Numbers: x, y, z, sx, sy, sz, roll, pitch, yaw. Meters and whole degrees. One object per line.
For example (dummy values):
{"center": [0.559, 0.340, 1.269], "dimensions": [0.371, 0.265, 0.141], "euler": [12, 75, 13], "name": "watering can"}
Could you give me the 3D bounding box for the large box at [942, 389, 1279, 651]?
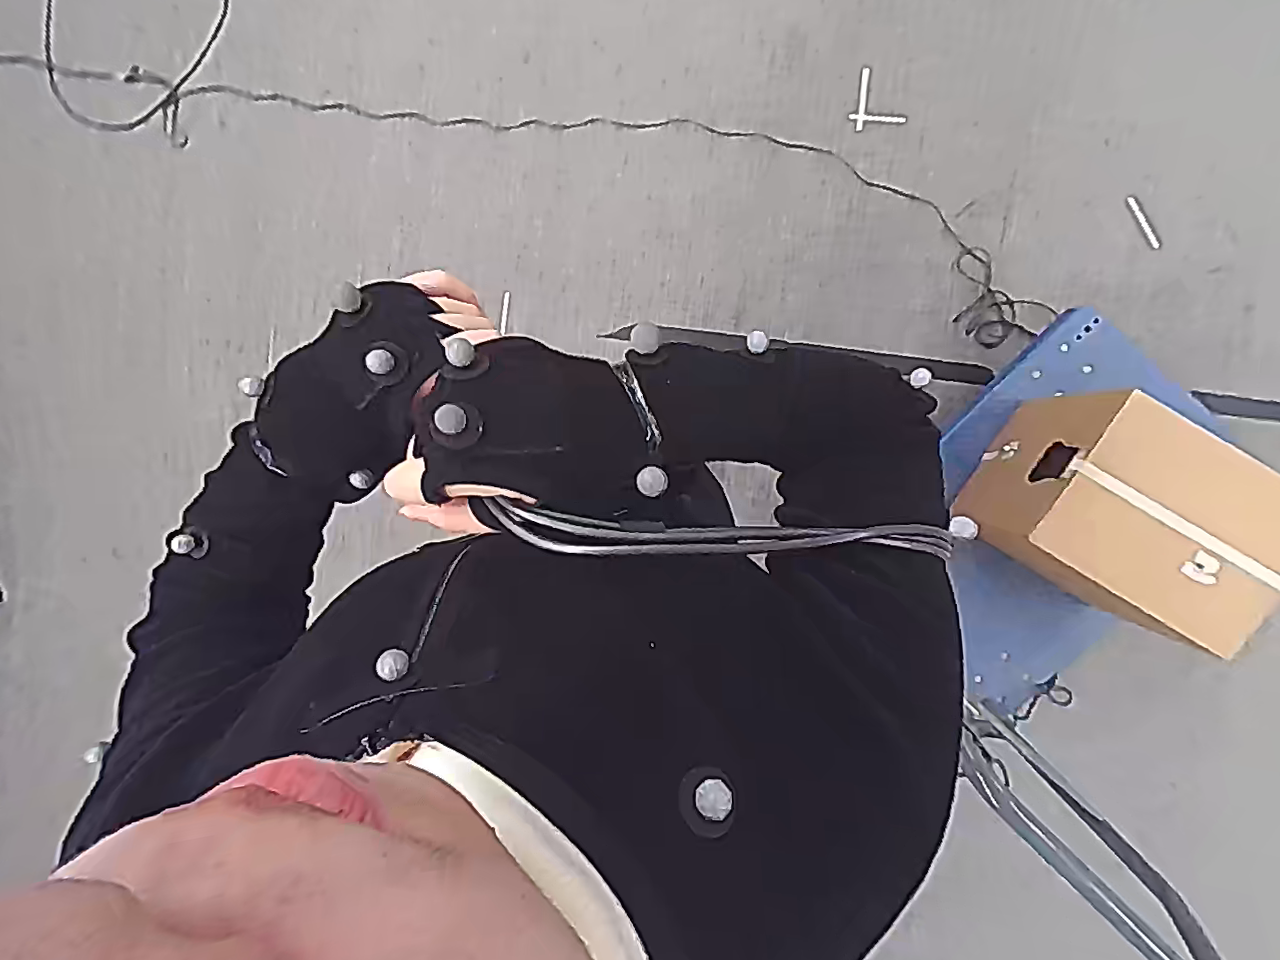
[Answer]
{"center": [0.924, 0.061, 1.081], "dimensions": [0.408, 0.320, 0.320], "euler": [32, 97, 1], "name": "large box"}
